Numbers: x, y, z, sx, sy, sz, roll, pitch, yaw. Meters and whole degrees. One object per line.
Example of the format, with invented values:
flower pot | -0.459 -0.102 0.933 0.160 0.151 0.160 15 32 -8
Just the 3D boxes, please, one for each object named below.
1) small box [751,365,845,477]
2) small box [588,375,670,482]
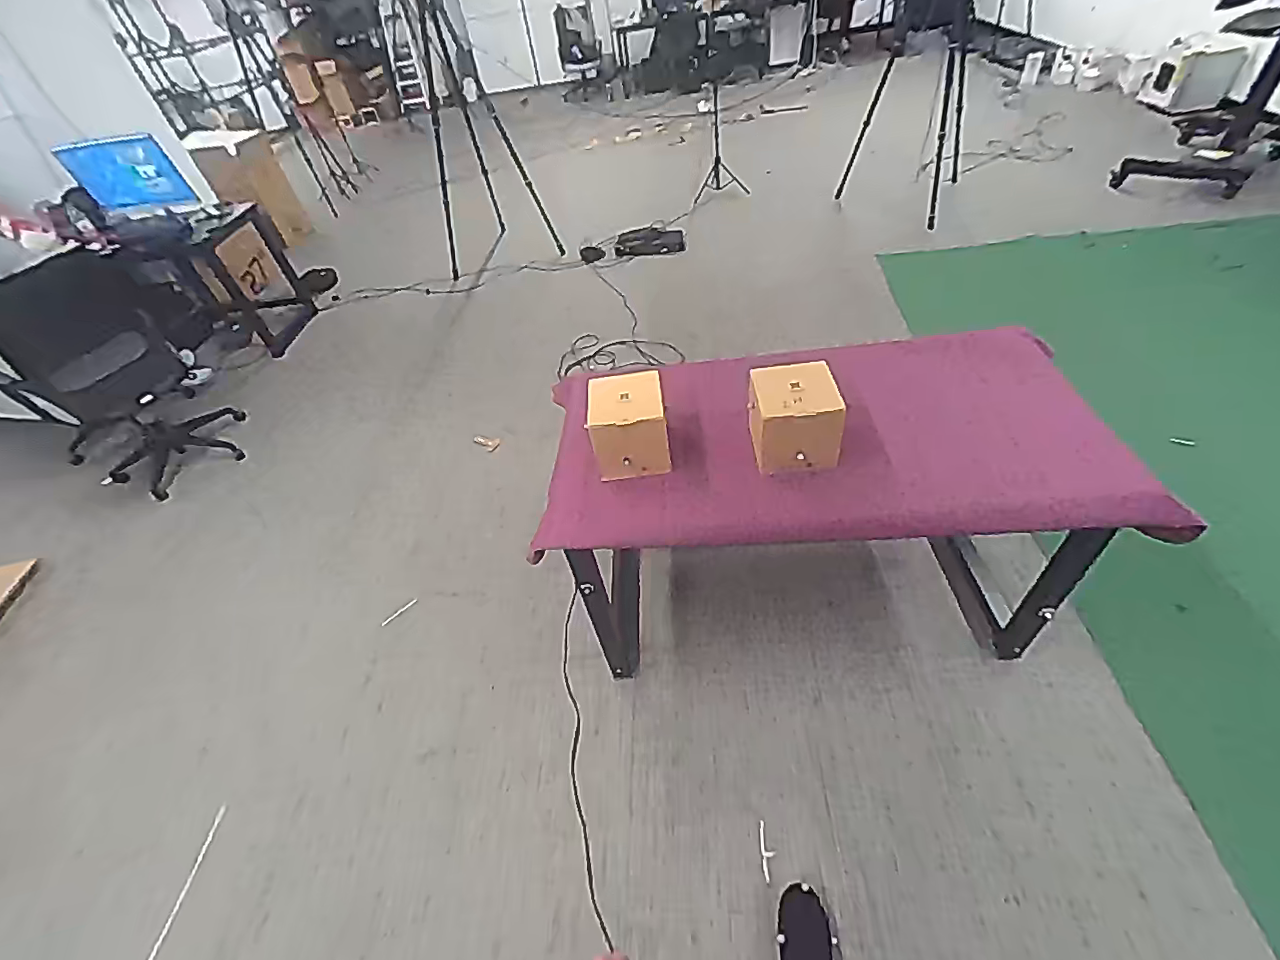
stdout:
small box | 0.336 -0.128 1.188 0.168 0.176 0.179 -6 45 6
small box | -0.023 -0.118 1.249 0.168 0.176 0.179 -7 46 3
